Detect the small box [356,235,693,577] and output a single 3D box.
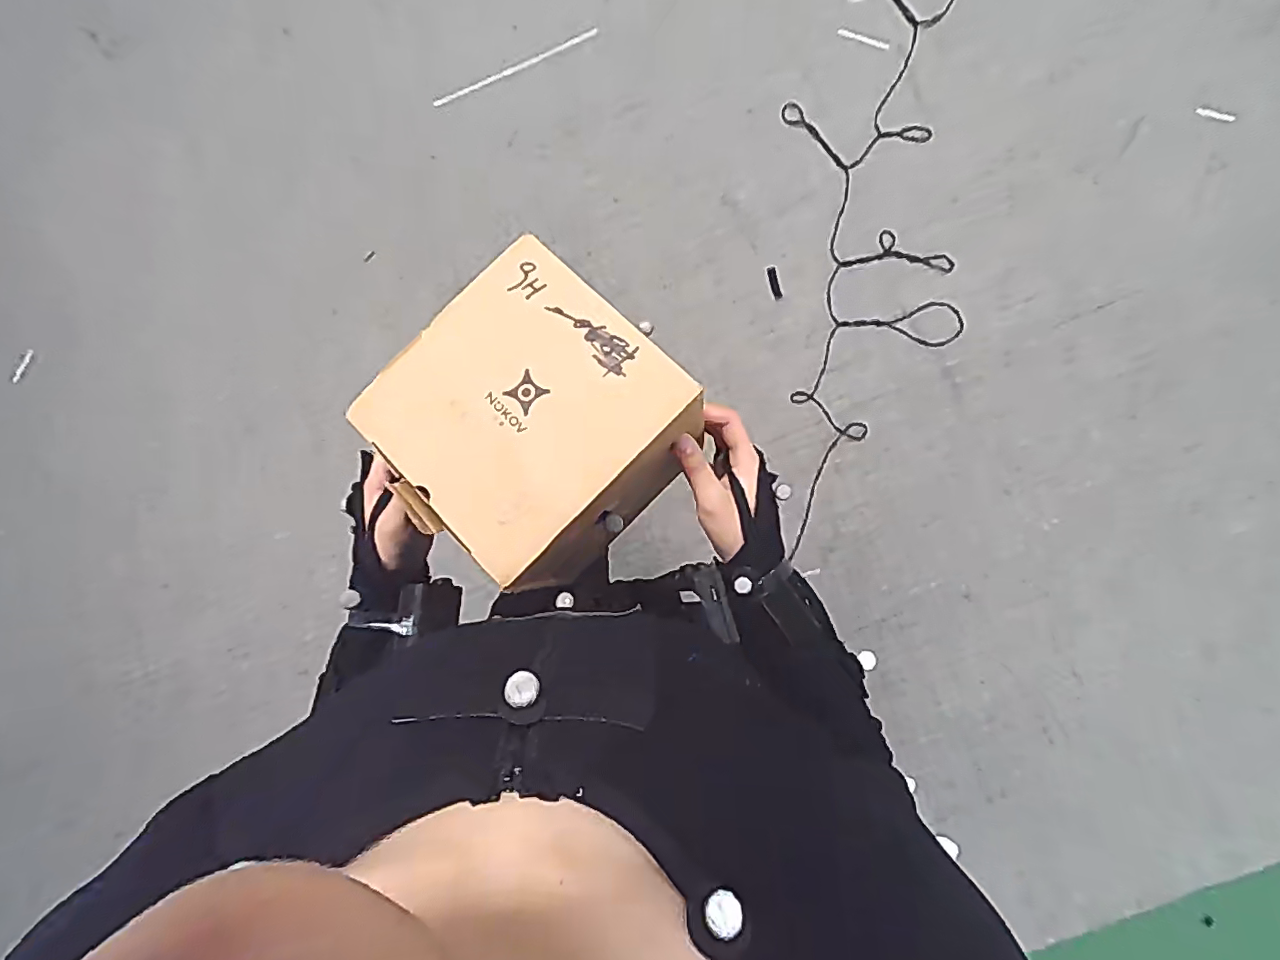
[{"bbox_3d":[-0.069,-0.042,0.433,0.168,0.176,0.179,43,90,11],"label":"small box"}]
